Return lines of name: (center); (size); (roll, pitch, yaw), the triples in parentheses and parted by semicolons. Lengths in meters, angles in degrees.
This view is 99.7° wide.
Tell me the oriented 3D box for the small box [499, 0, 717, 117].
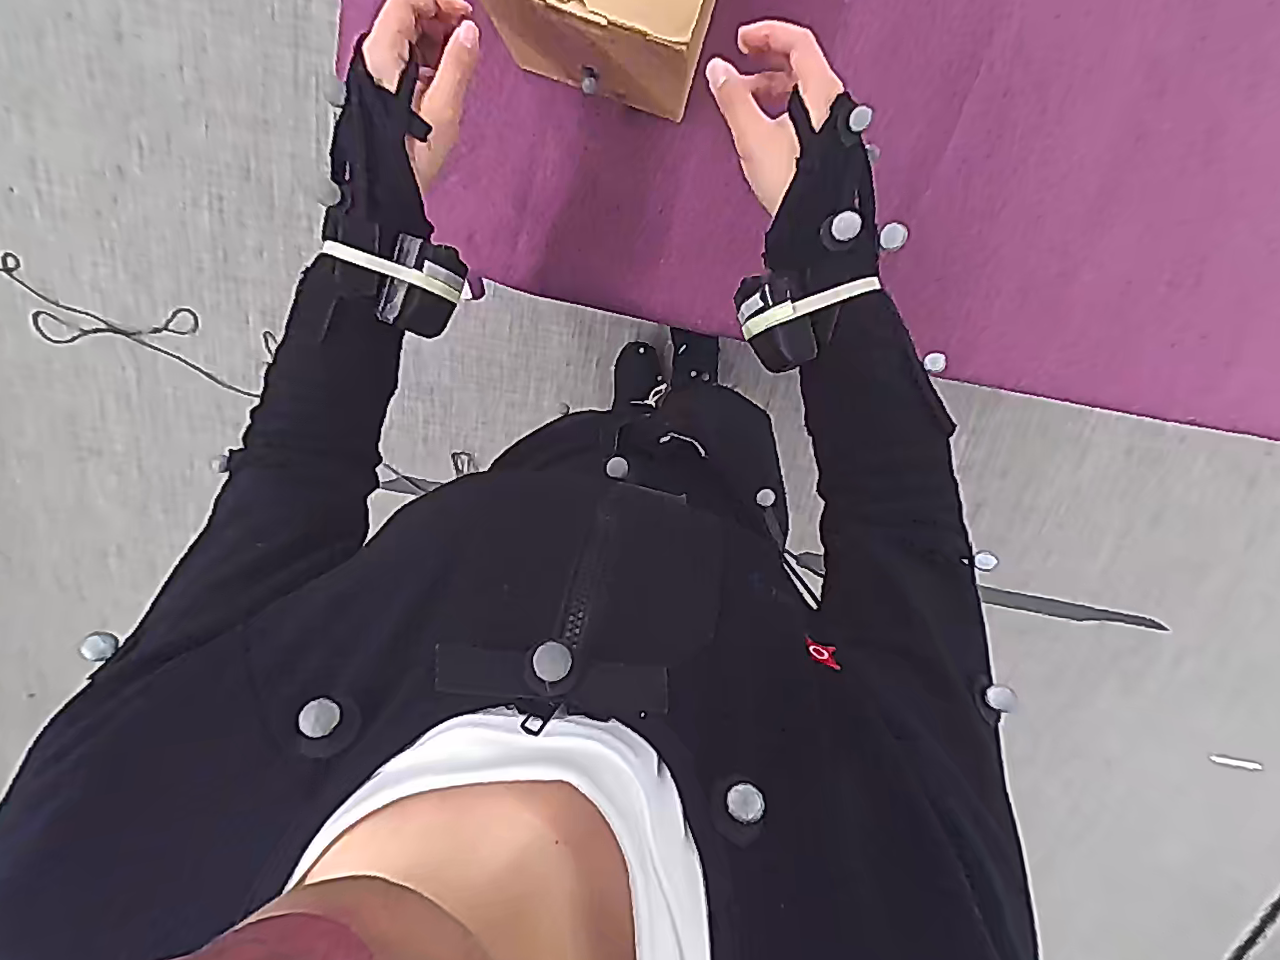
small box: (-0.015, -0.429, 0.423); (0.168, 0.176, 0.179); (17, 108, -4)
